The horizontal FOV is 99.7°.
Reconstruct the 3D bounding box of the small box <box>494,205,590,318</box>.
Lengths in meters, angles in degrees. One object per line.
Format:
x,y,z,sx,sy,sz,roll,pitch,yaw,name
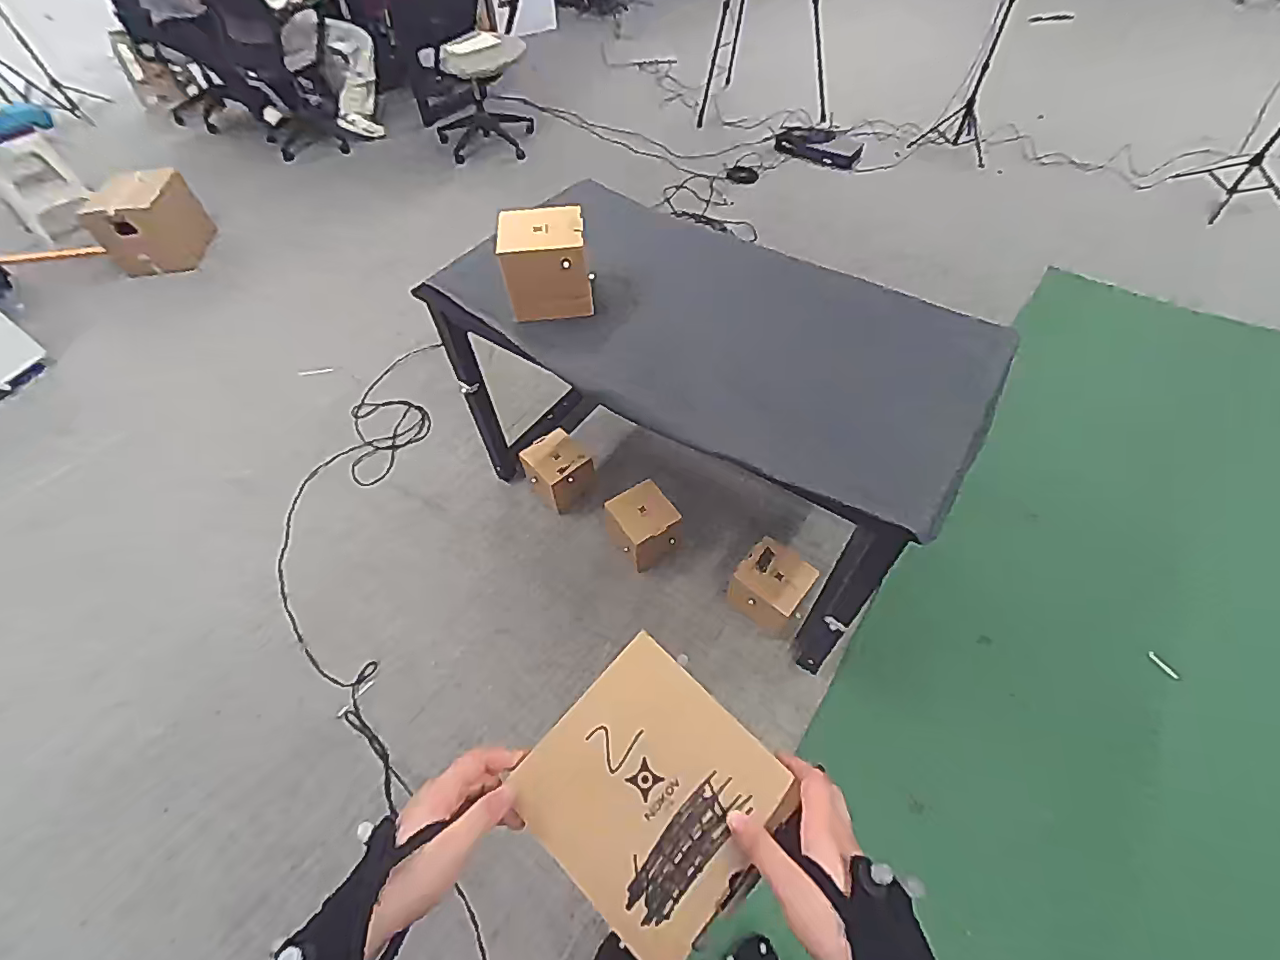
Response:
-0.206,-0.469,1.173,0.179,0.176,0.168,-6,53,-3,small box

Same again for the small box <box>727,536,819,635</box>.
0.358,0.294,1.487,0.179,0.176,0.168,35,62,24,small box

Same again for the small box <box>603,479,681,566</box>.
0.008,0.136,1.620,0.168,0.176,0.179,-29,56,-19,small box

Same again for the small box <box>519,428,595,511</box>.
-0.265,-0.031,1.756,0.168,0.176,0.179,-37,59,-22,small box
